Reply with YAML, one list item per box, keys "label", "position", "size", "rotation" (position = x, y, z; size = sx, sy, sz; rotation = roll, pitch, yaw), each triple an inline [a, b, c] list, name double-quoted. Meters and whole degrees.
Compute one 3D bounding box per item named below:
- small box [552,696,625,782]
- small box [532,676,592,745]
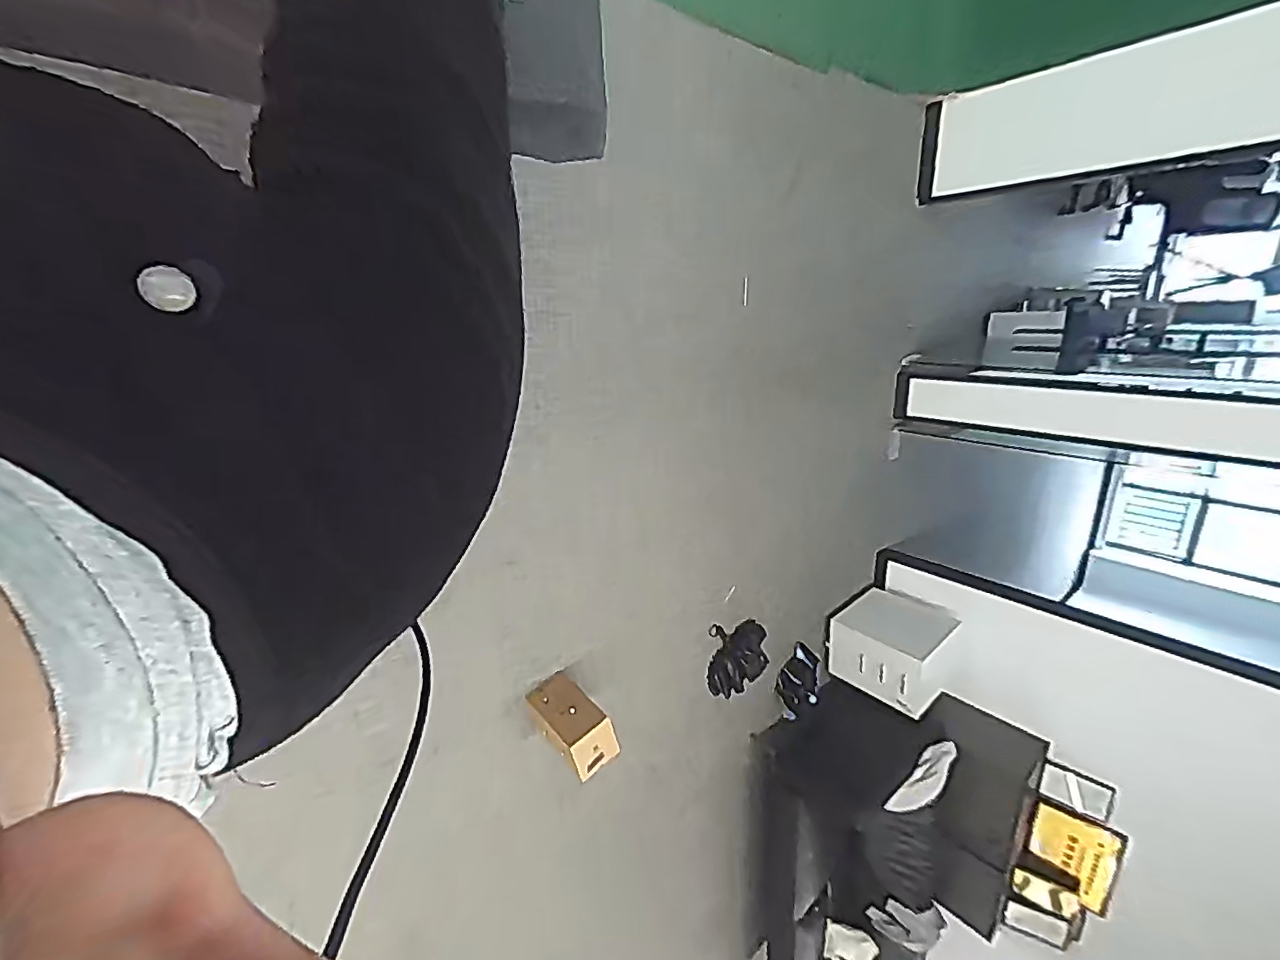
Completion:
- label: "small box"
  position: [-0.179, 0.893, 1.880]
  size: [0.168, 0.176, 0.179]
  rotation: [-29, 118, -31]
- label: "small box"
  position: [-0.278, 0.858, 2.008]
  size: [0.168, 0.176, 0.179]
  rotation: [-30, 121, -30]
